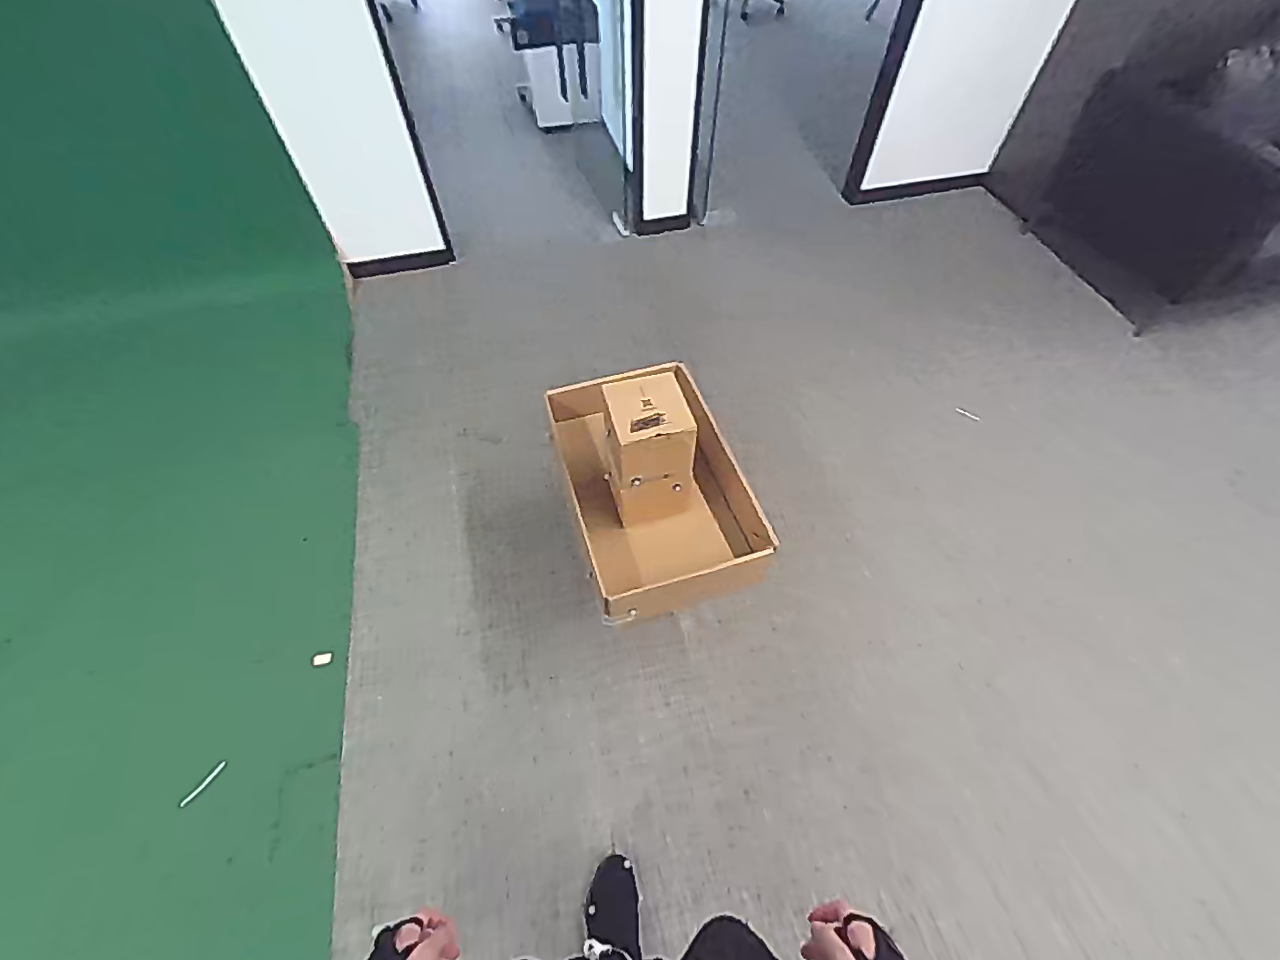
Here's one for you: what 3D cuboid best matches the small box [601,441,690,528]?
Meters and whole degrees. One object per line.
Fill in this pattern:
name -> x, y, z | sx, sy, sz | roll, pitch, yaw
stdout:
small box -> 0.012, -0.002, 1.330 | 0.179, 0.176, 0.168 | -14, 55, -10

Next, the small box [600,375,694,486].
small box -> 0.013, -0.102, 1.199 | 0.168, 0.176, 0.179 | -12, 55, -9
